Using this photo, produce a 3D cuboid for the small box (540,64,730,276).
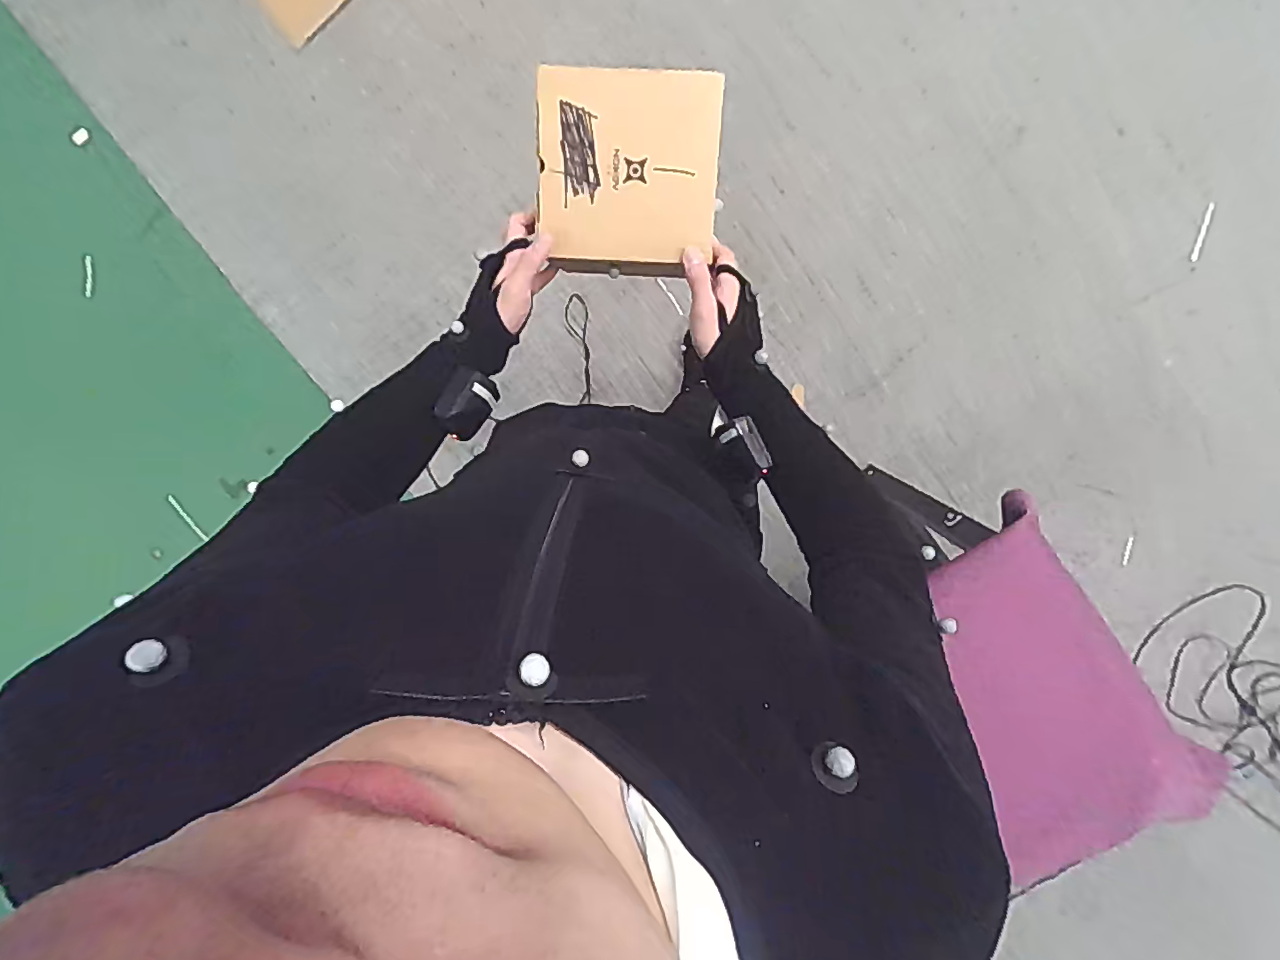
[{"bbox_3d":[-0.005,-0.319,0.591,0.179,0.176,0.168,3,106,1],"label":"small box"}]
